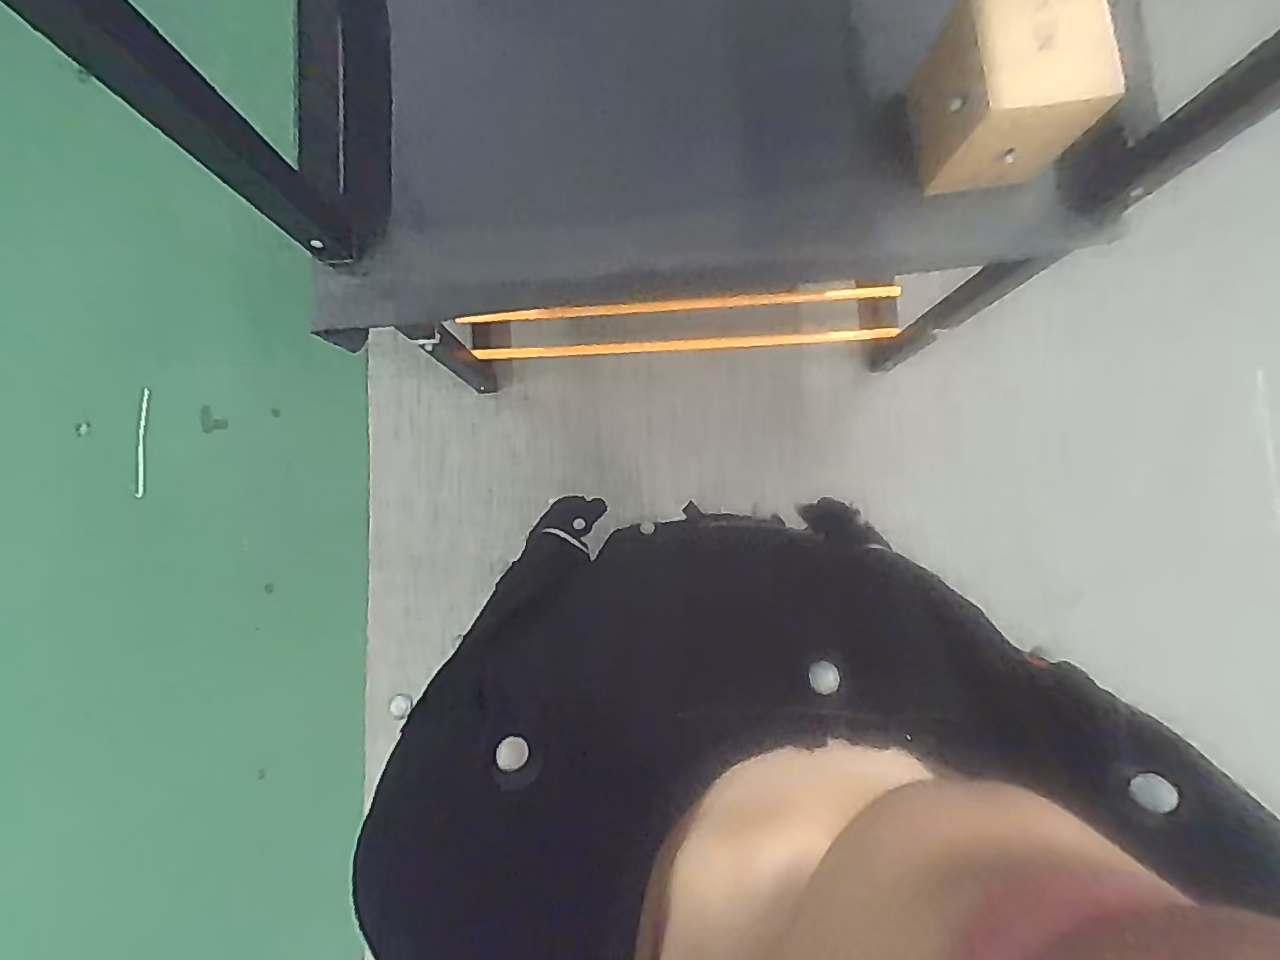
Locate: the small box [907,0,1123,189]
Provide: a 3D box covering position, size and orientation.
[{"bbox_3d":[0.495,-0.527,0.741,0.168,0.176,0.179,-7,84,0],"label":"small box"}]
